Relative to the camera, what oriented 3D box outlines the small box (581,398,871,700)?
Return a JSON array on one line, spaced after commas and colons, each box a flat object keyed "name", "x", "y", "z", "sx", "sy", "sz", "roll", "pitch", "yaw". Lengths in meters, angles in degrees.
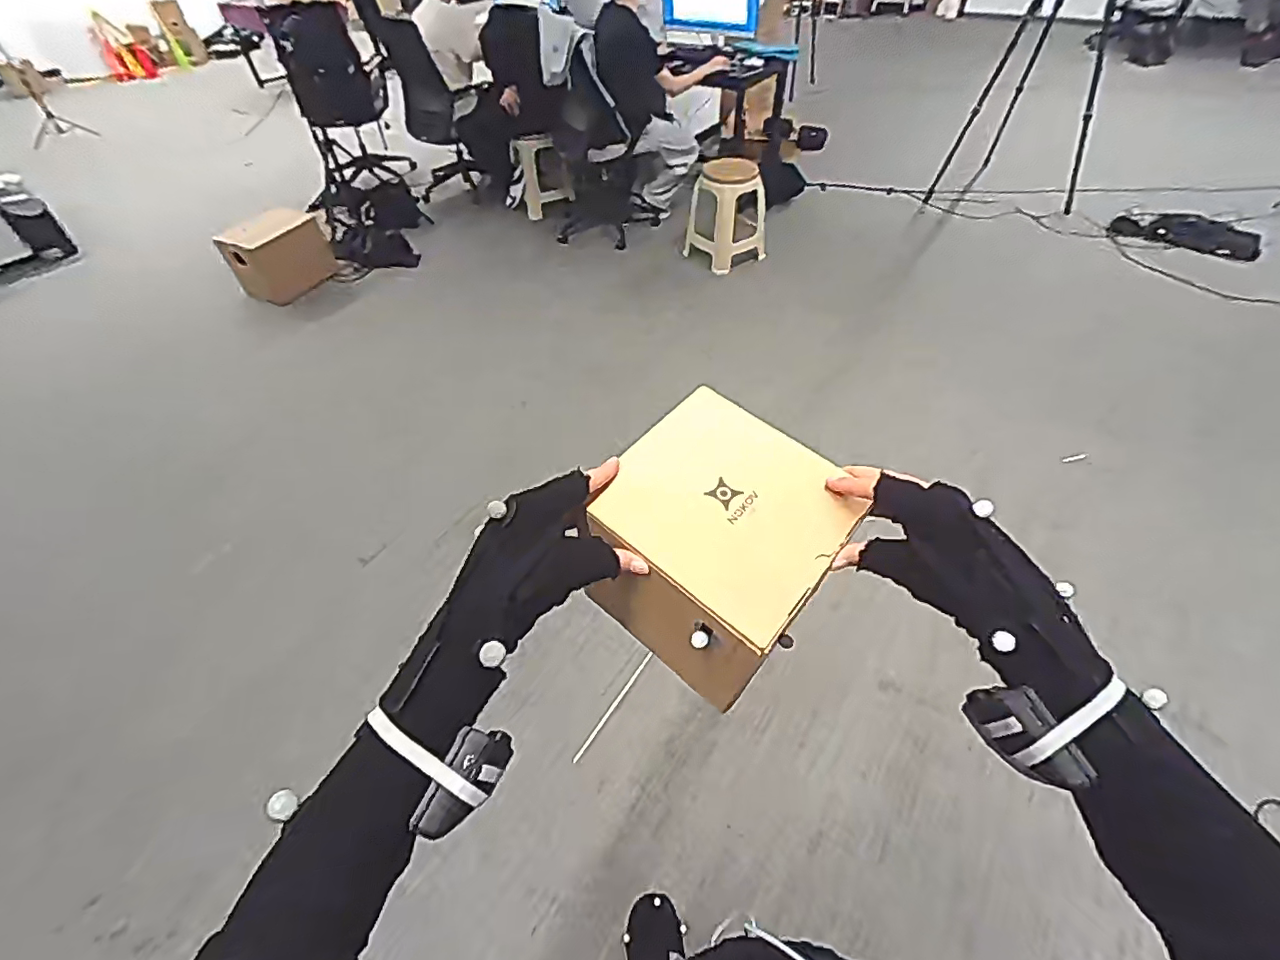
[{"name": "small box", "x": 0.062, "y": 0.066, "z": 0.488, "sx": 0.179, "sy": 0.176, "sz": 0.168, "roll": 38, "pitch": 60, "yaw": 20}]
